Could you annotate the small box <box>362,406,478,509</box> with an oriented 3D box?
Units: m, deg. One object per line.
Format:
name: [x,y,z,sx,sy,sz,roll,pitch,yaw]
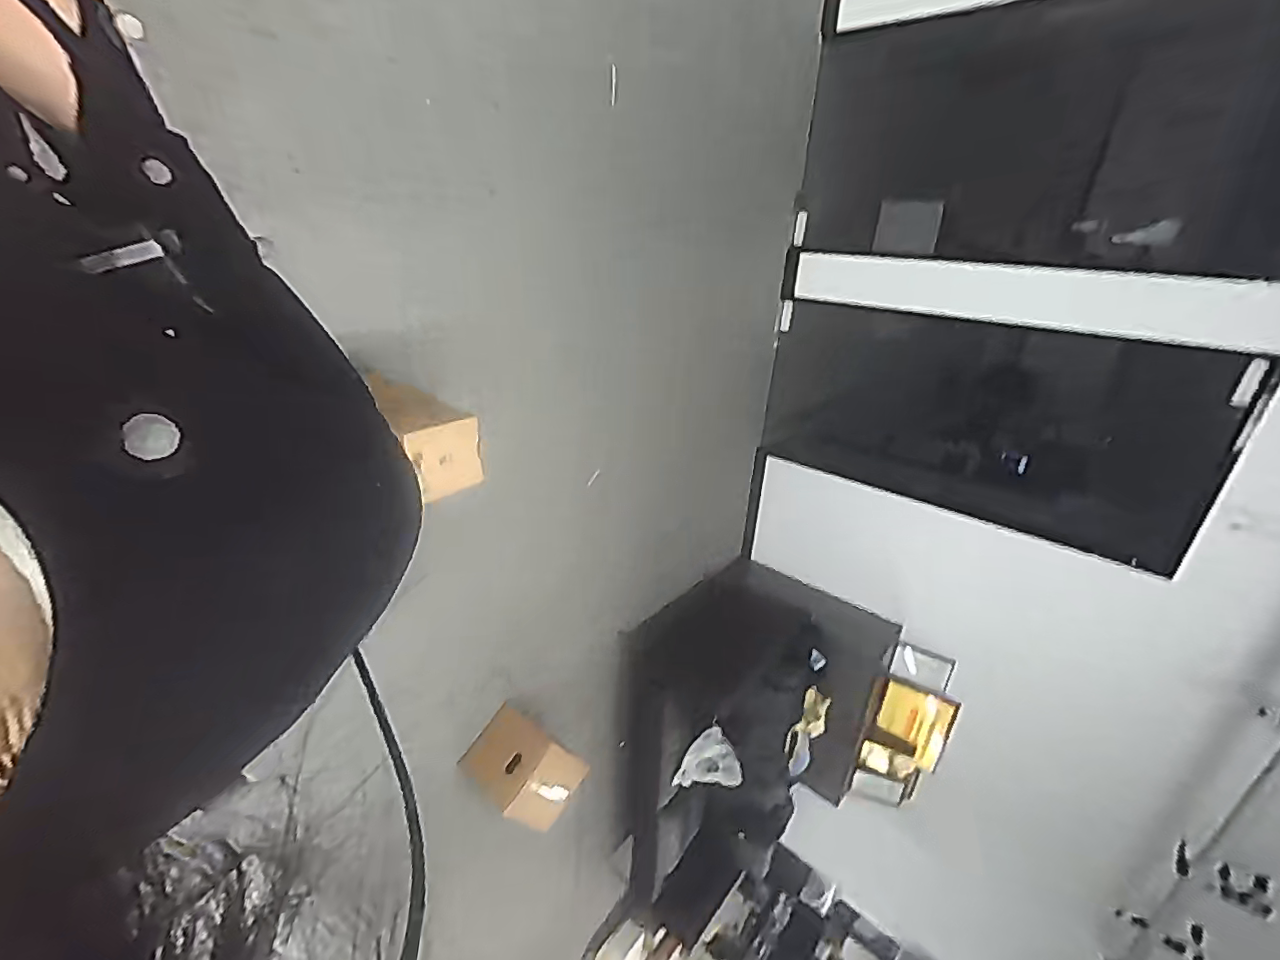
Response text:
small box: [-0.496,-0.060,1.230,0.179,0.176,0.168,-26,127,-45]
